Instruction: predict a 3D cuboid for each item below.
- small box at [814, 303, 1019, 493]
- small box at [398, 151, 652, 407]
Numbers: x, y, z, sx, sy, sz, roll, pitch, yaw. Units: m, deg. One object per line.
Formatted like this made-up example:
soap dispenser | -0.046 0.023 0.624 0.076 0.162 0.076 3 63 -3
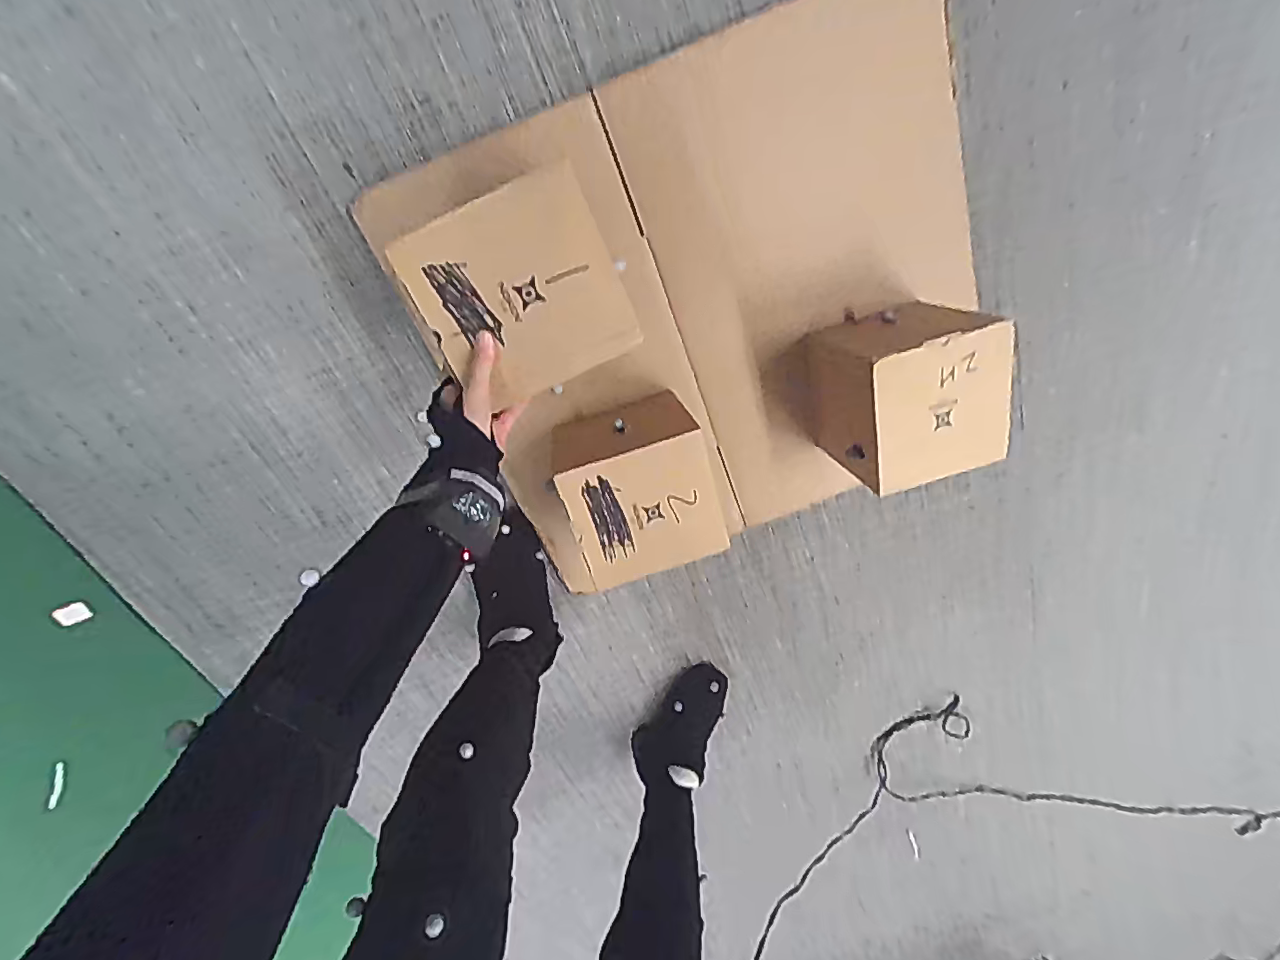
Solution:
small box | 0.338 -0.112 0.689 0.168 0.176 0.179 -16 115 -2
small box | -0.101 -0.192 0.551 0.179 0.176 0.168 -24 108 3
